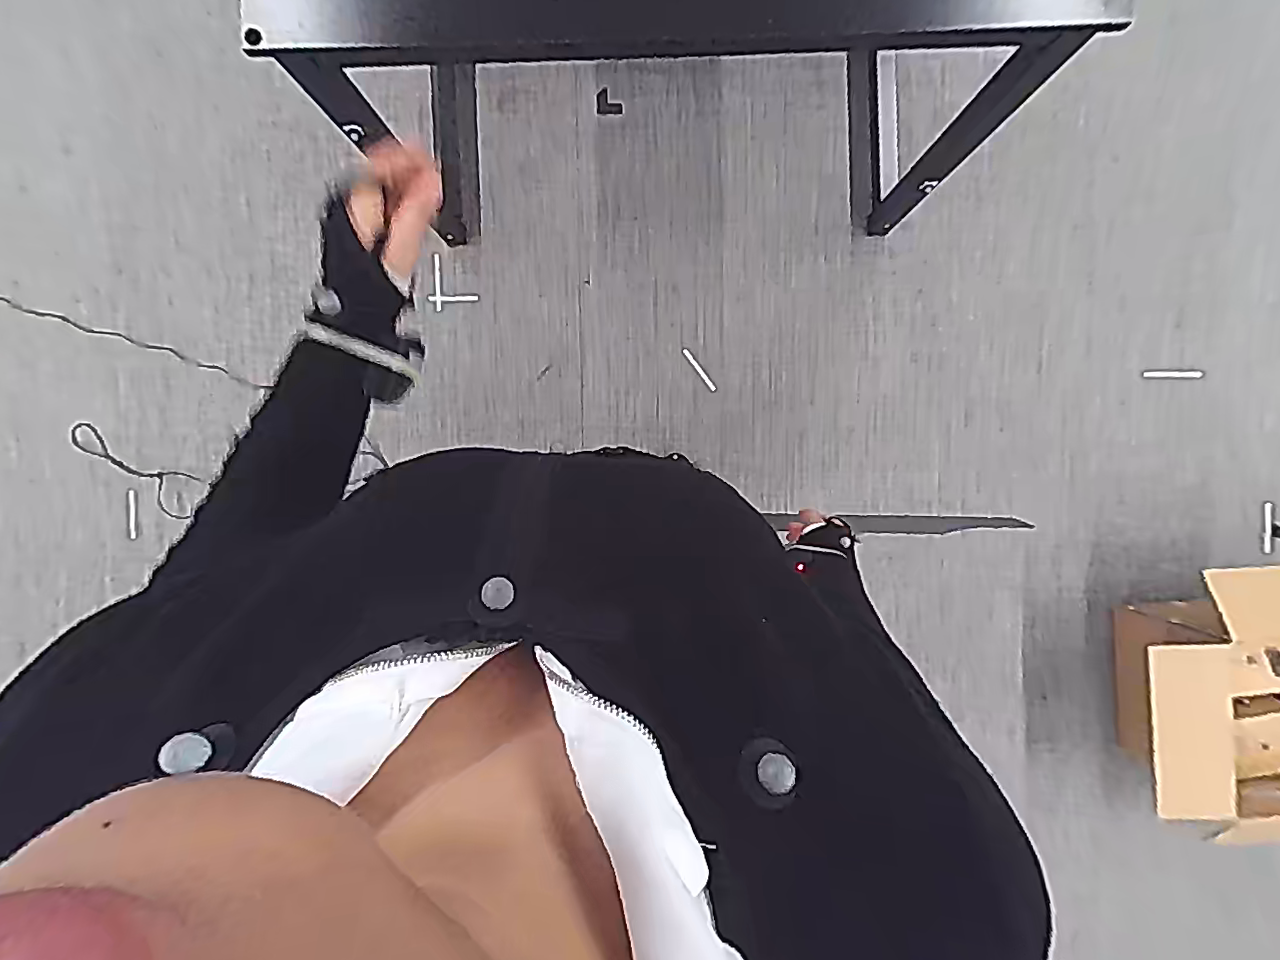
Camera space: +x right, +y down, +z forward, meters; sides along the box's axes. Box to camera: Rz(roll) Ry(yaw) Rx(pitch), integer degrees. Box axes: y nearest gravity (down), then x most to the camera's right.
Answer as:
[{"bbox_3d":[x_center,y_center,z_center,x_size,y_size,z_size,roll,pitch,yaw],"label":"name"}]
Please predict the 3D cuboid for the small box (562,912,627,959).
[{"bbox_3d":[-0.121,1.273,1.406,0.168,0.176,0.179,4,90,0],"label":"small box"}]
